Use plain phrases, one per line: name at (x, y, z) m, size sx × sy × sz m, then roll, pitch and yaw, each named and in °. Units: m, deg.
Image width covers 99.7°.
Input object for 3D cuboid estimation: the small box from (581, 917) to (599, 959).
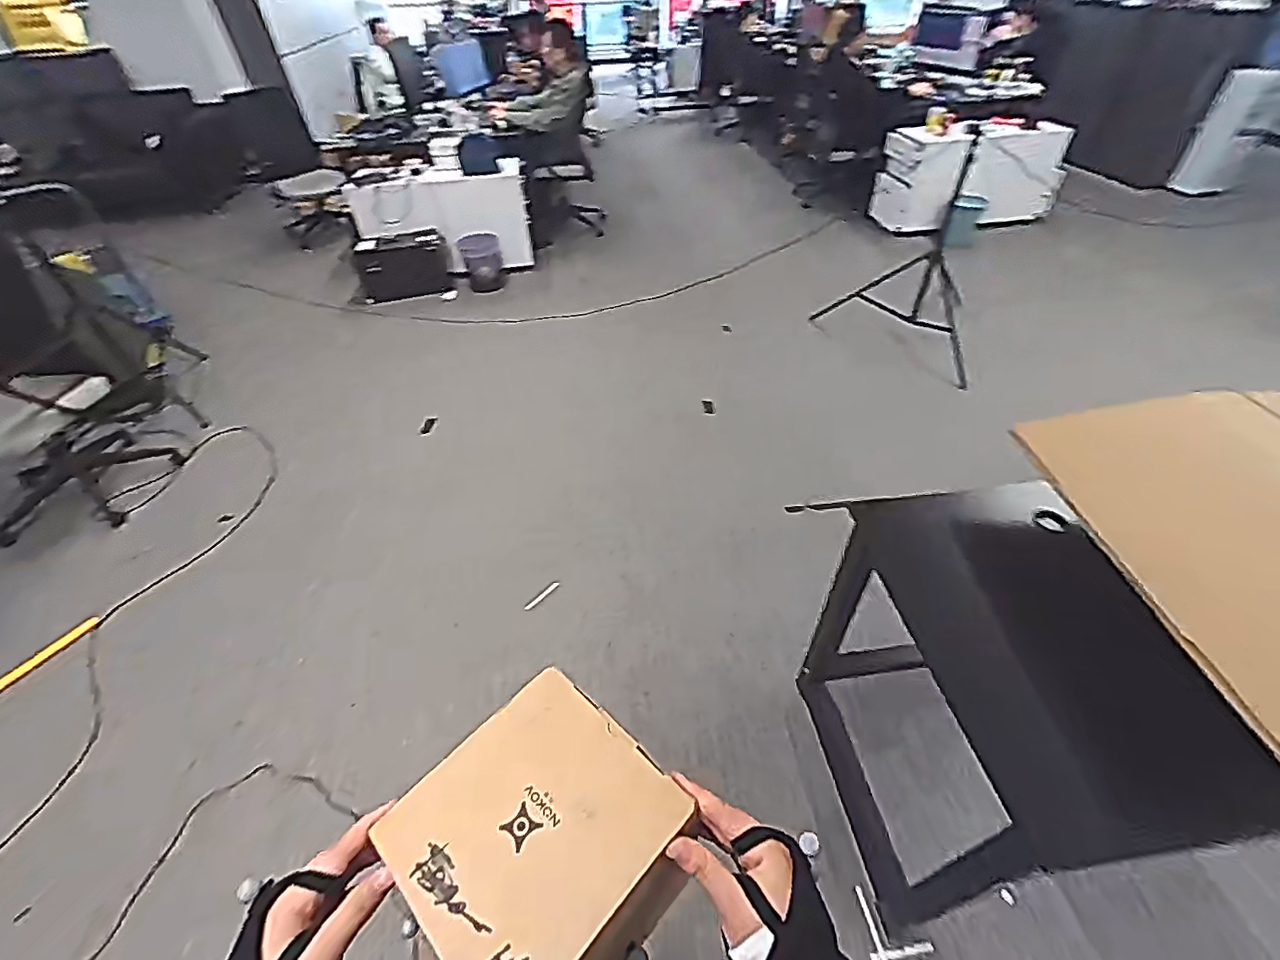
small box at (-0.164, 0.992, 1.052) m, size 0.168 × 0.176 × 0.179 m, roll -10°, pitch 45°, yaw -7°
